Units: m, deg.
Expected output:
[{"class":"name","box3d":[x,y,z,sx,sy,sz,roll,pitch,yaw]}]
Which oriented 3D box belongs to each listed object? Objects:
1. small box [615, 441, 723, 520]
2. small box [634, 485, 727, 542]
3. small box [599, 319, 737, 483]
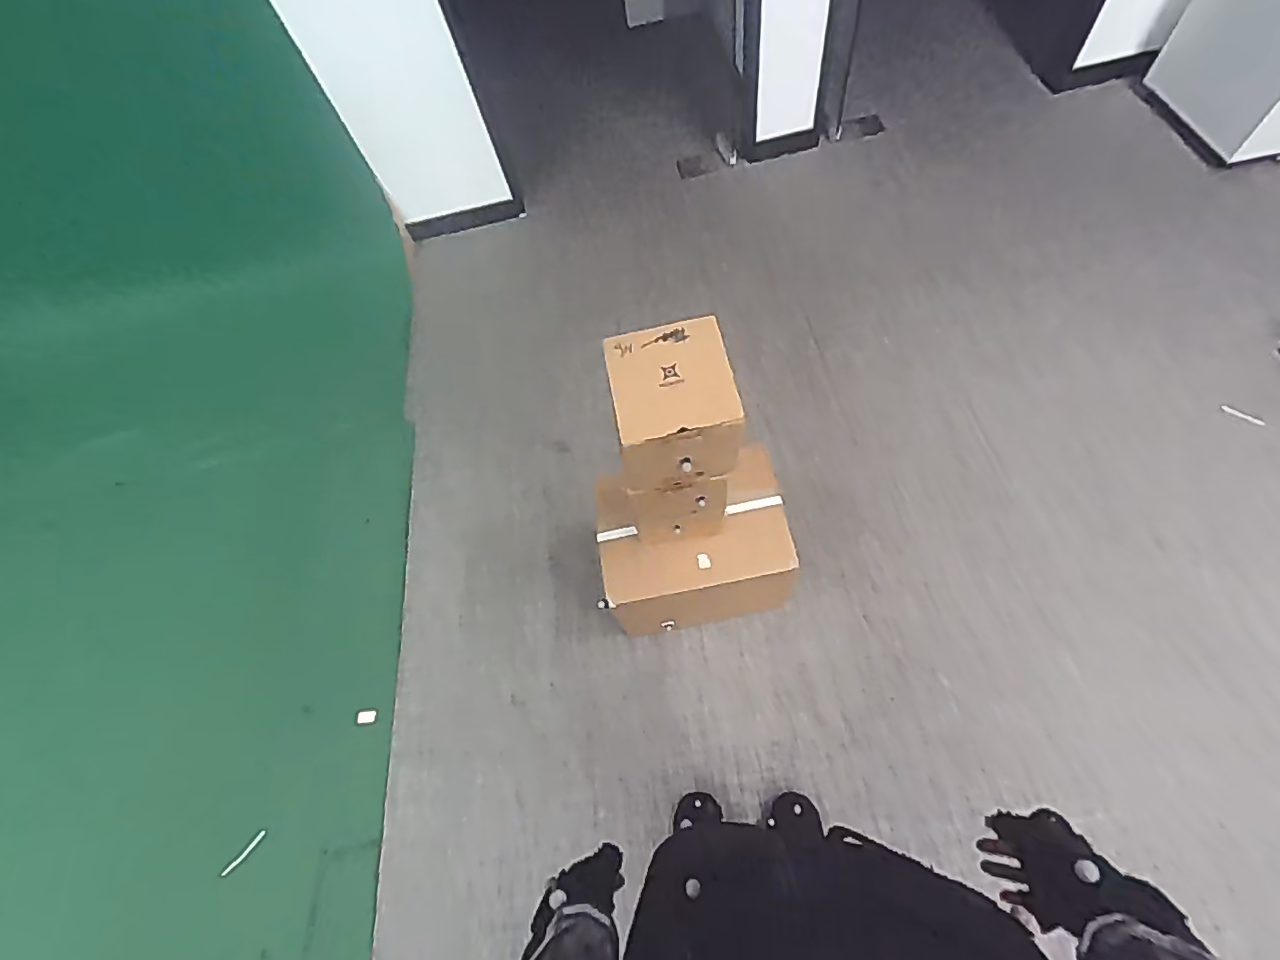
[{"class":"small box","box3d":[0.051,-0.038,0.962,0.168,0.176,0.179,-11,67,2]},{"class":"small box","box3d":[0.072,0.019,1.112,0.179,0.176,0.168,-11,68,3]},{"class":"small box","box3d":[0.045,-0.106,0.812,0.168,0.176,0.179,-12,68,2]}]
